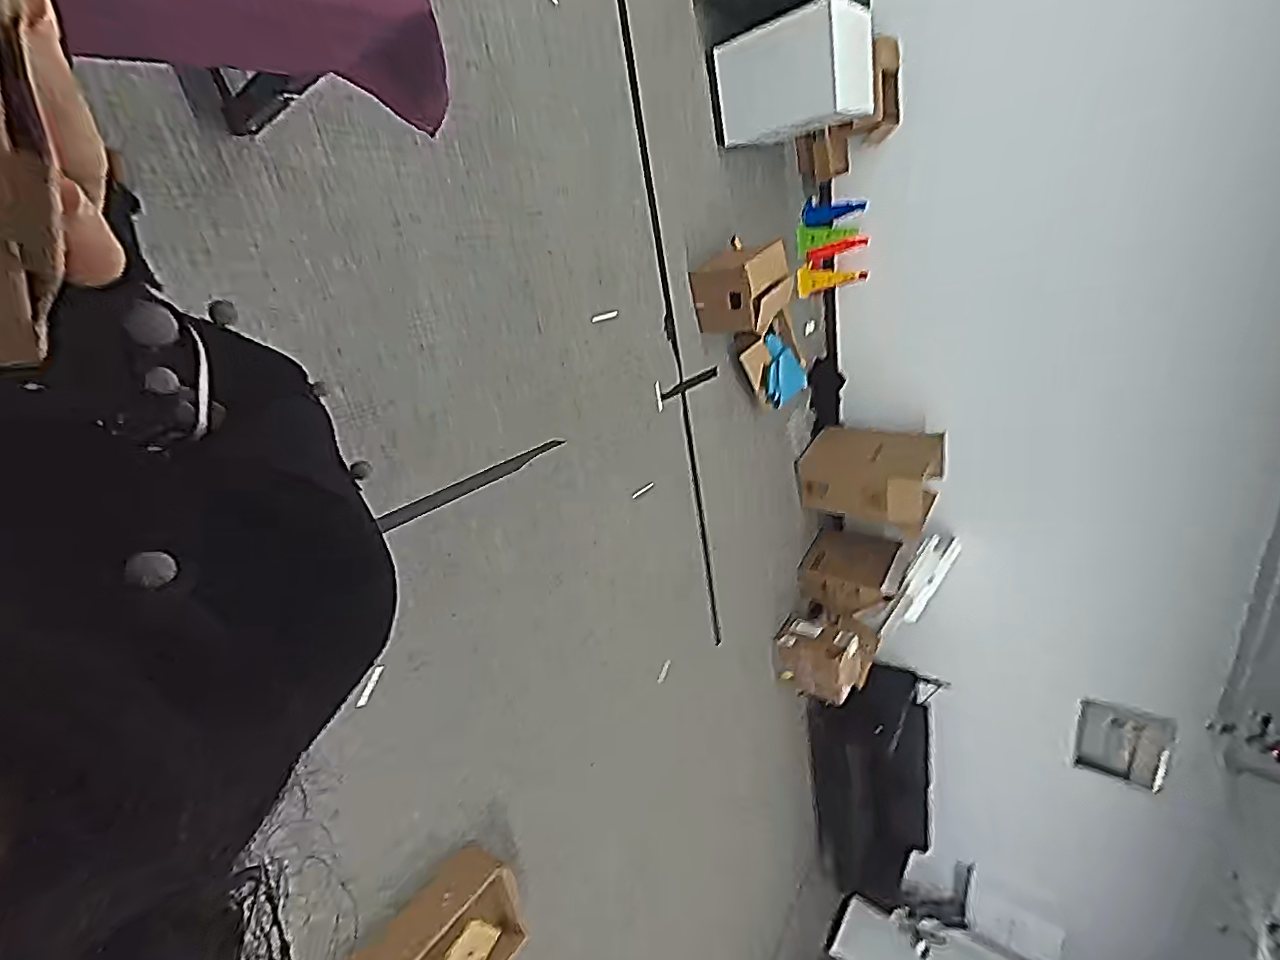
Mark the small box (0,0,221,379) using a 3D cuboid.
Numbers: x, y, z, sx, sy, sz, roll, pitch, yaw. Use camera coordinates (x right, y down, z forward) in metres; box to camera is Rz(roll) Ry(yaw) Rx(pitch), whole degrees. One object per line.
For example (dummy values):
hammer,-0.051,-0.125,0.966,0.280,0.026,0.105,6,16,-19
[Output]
small box,-0.170,-0.114,0.043,0.179,0.168,0.176,-9,86,-48
